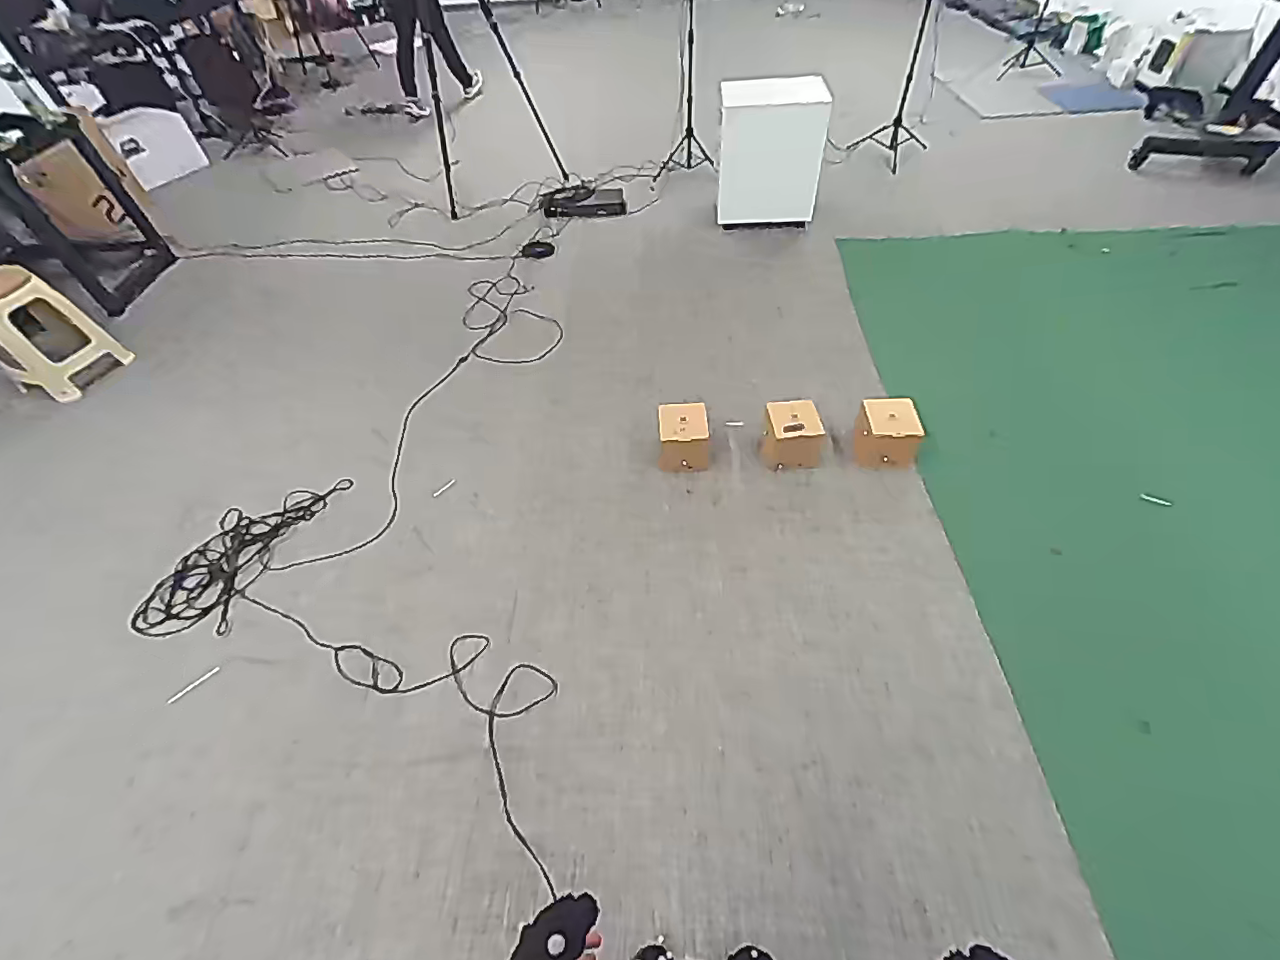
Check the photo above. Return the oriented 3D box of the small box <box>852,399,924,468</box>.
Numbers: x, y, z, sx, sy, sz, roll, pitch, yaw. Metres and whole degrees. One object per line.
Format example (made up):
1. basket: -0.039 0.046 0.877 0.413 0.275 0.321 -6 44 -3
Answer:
1. small box: 0.856 -0.163 1.887 0.168 0.176 0.179 0 51 4

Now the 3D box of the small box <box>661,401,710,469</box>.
1. small box: 0.158 -0.158 1.920 0.168 0.176 0.179 -3 51 3

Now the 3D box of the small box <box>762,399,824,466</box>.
1. small box: 0.533 -0.162 1.903 0.168 0.176 0.179 -4 50 0
